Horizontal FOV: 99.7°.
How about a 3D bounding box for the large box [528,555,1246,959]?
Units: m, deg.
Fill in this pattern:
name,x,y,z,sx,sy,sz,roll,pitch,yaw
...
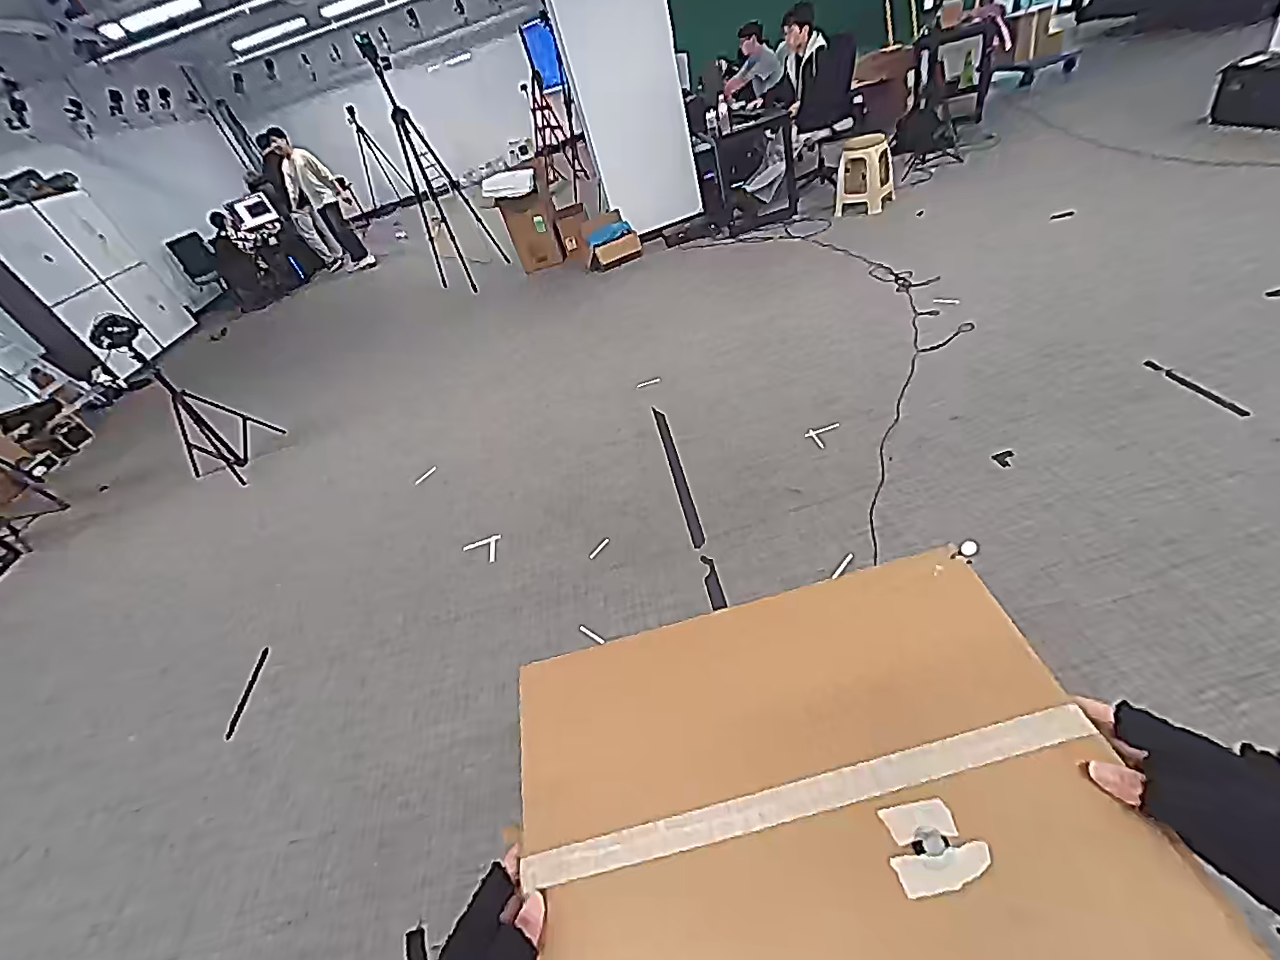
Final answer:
name,x,y,z,sx,sy,sz,roll,pitch,yaw
large box,0.145,0.328,0.498,0.408,0.320,0.320,-16,47,1
